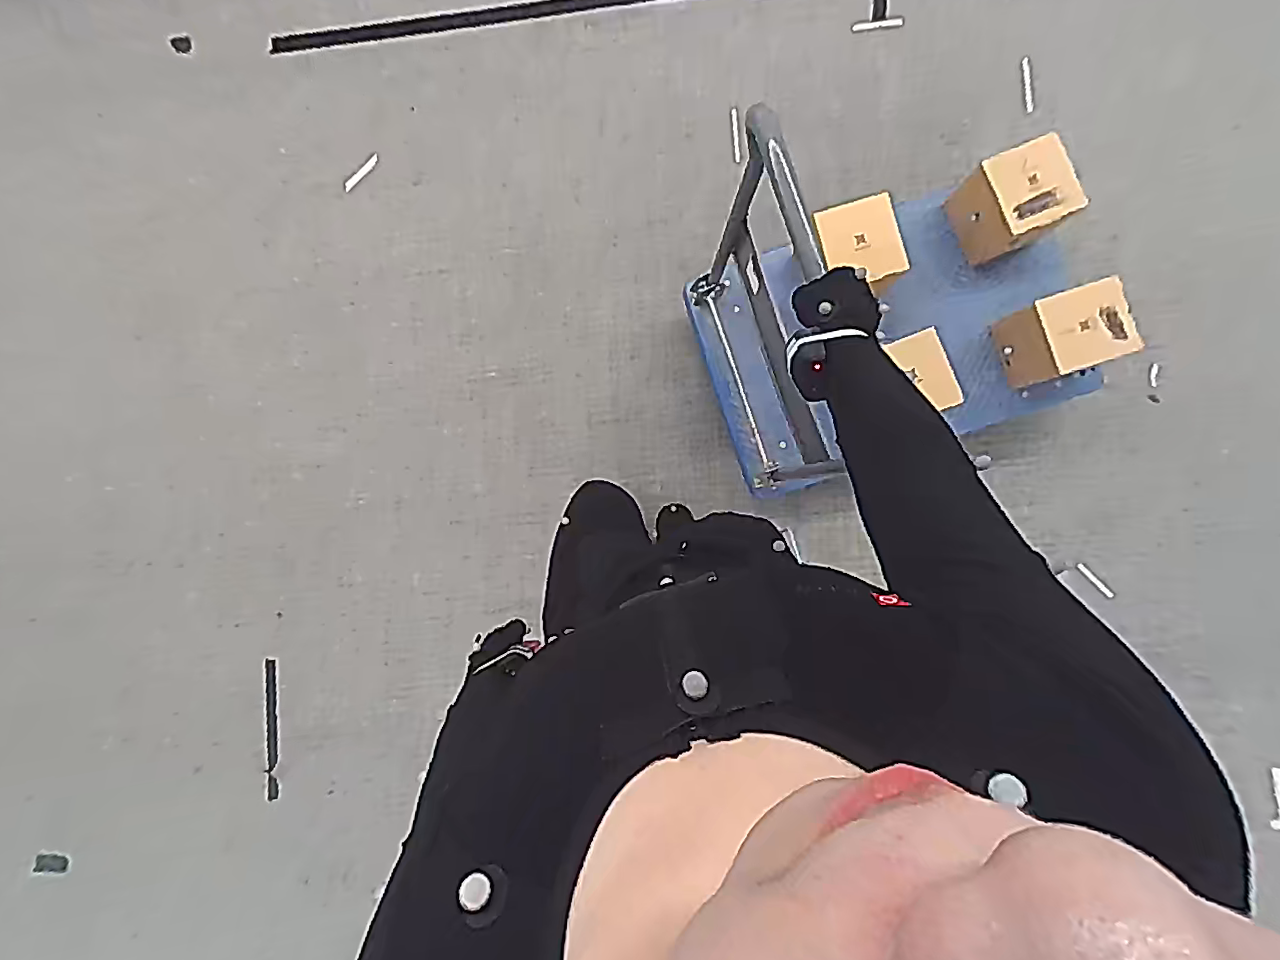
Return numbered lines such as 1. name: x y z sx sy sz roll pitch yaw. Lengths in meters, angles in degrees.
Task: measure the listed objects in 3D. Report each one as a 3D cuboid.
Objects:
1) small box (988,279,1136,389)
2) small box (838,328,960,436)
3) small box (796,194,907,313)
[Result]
1. small box: 0.929 -0.316 1.204 0.179 0.176 0.168 -17 88 4
2. small box: 0.571 -0.213 1.220 0.168 0.176 0.179 -21 88 2
3. small box: 0.471 -0.507 1.231 0.168 0.176 0.179 -15 90 2
